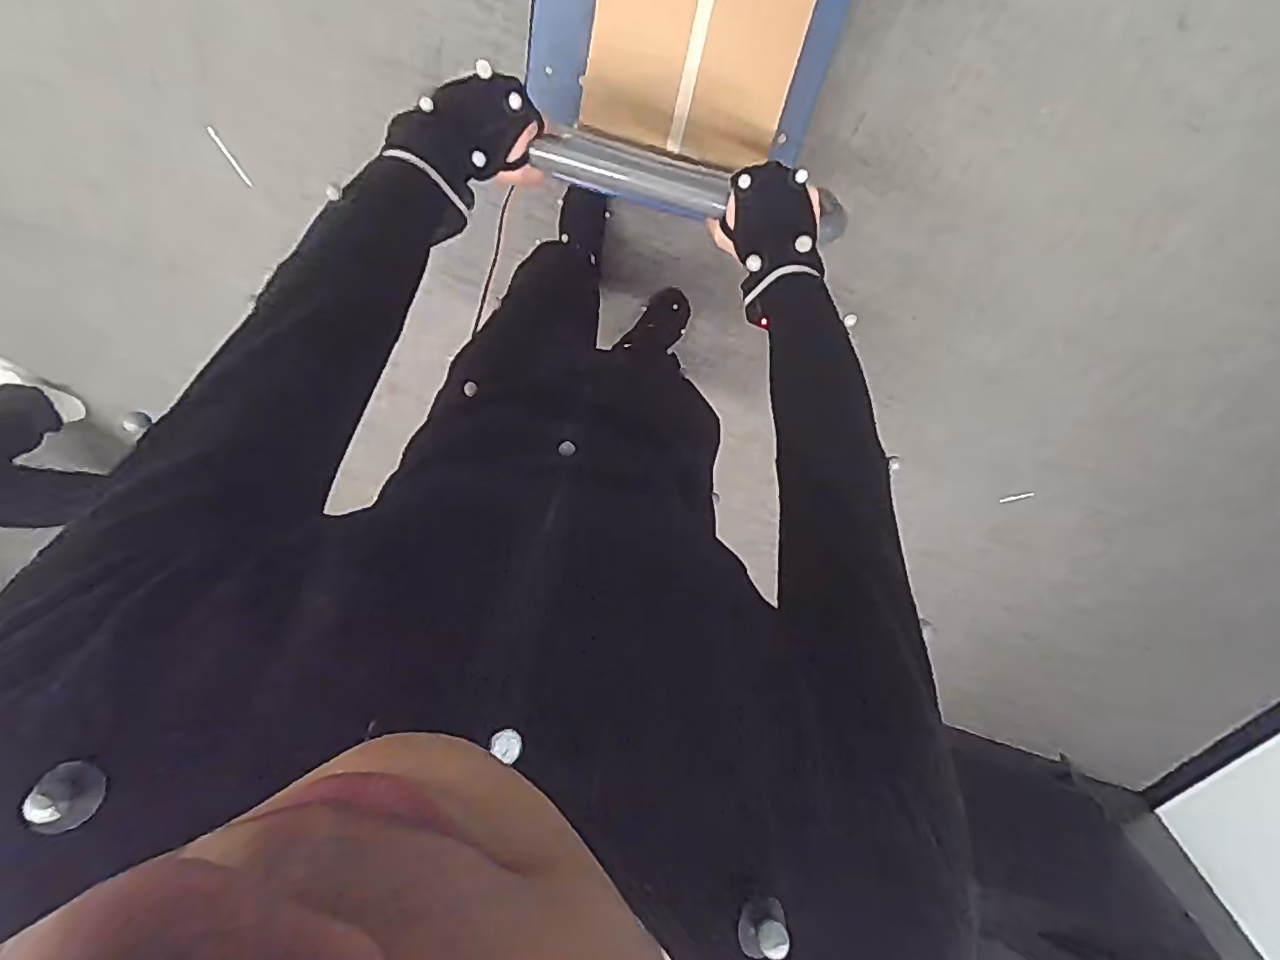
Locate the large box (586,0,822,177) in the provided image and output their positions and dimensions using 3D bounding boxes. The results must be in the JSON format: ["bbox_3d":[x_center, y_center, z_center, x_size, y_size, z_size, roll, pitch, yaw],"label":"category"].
[{"bbox_3d":[0.114,-0.767,0.907,0.320,0.320,0.408,14,119,-4],"label":"large box"}]
